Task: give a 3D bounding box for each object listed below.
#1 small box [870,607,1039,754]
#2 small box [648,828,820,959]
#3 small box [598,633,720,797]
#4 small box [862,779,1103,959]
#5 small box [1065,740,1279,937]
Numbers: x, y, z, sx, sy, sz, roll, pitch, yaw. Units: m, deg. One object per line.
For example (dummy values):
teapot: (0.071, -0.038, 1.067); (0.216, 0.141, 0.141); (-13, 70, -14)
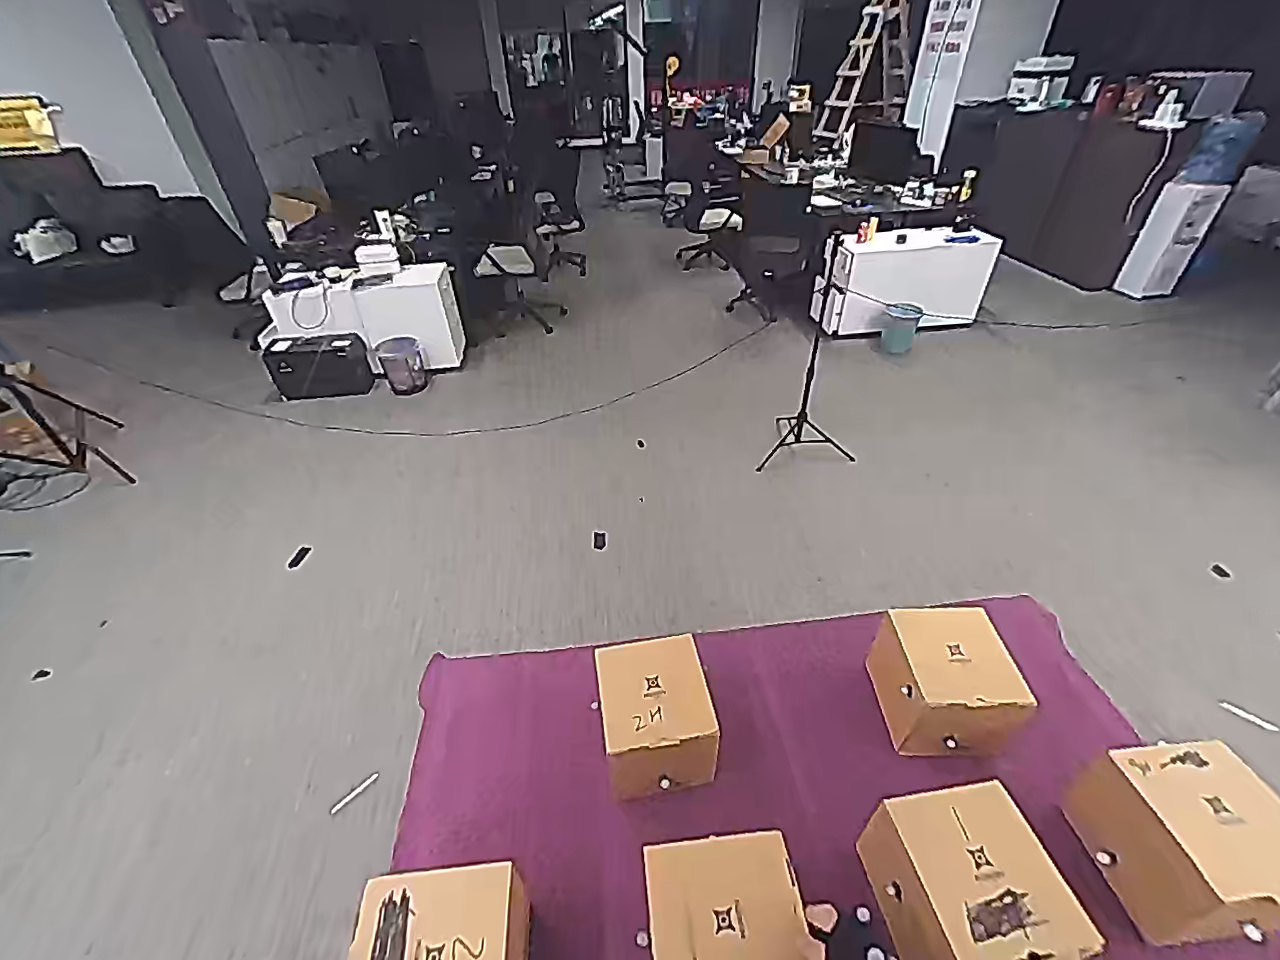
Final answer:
small box: (0.509, 0.336, 0.911); (0.168, 0.176, 0.179); (-2, 40, 2)
small box: (0.103, 0.552, 0.656); (0.179, 0.176, 0.168); (-5, 38, -4)
small box: (0.025, 0.380, 0.881); (0.168, 0.176, 0.179); (-7, 39, -6)
small box: (0.408, 0.516, 0.684); (0.168, 0.176, 0.179); (-6, 37, -5)
small box: (0.726, 0.475, 0.715); (0.168, 0.176, 0.179); (-4, 37, -1)
